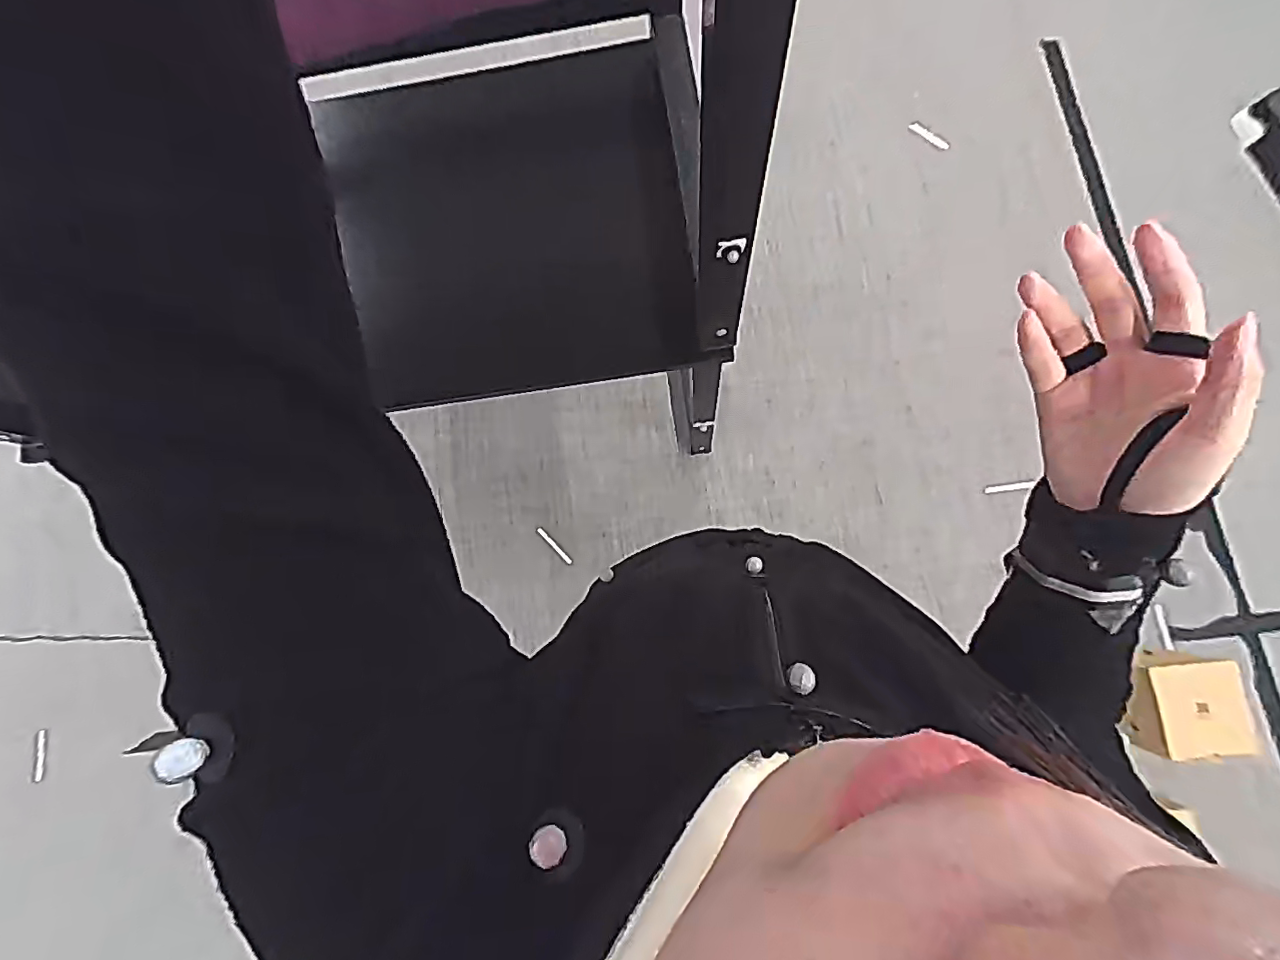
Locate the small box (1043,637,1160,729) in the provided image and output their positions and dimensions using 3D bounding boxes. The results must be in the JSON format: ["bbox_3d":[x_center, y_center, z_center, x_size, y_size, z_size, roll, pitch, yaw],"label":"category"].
[{"bbox_3d":[1.104,0.476,1.284,0.168,0.176,0.179,-3,82,5],"label":"small box"}]

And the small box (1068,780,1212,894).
[{"bbox_3d":[1.119,0.804,1.231,0.179,0.176,0.168,-2,81,4],"label":"small box"}]

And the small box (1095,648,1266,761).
[{"bbox_3d":[1.102,0.458,1.121,0.168,0.176,0.179,-7,80,4],"label":"small box"}]
